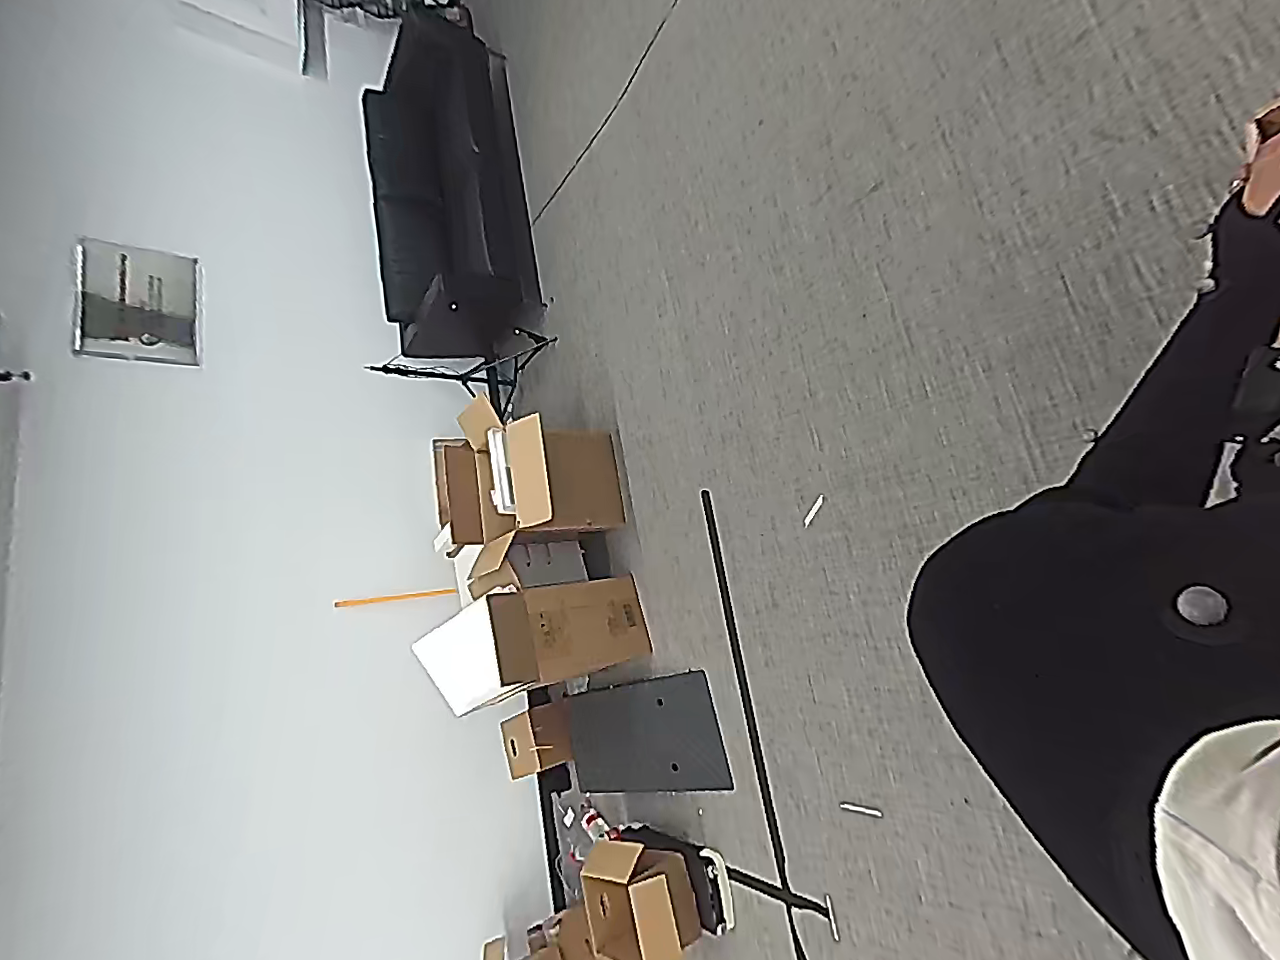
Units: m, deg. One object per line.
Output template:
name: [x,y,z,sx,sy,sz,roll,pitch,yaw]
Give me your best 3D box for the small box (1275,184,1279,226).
small box: [0.661,-0.308,0.430,0.179,0.176,0.168,16,109,47]
